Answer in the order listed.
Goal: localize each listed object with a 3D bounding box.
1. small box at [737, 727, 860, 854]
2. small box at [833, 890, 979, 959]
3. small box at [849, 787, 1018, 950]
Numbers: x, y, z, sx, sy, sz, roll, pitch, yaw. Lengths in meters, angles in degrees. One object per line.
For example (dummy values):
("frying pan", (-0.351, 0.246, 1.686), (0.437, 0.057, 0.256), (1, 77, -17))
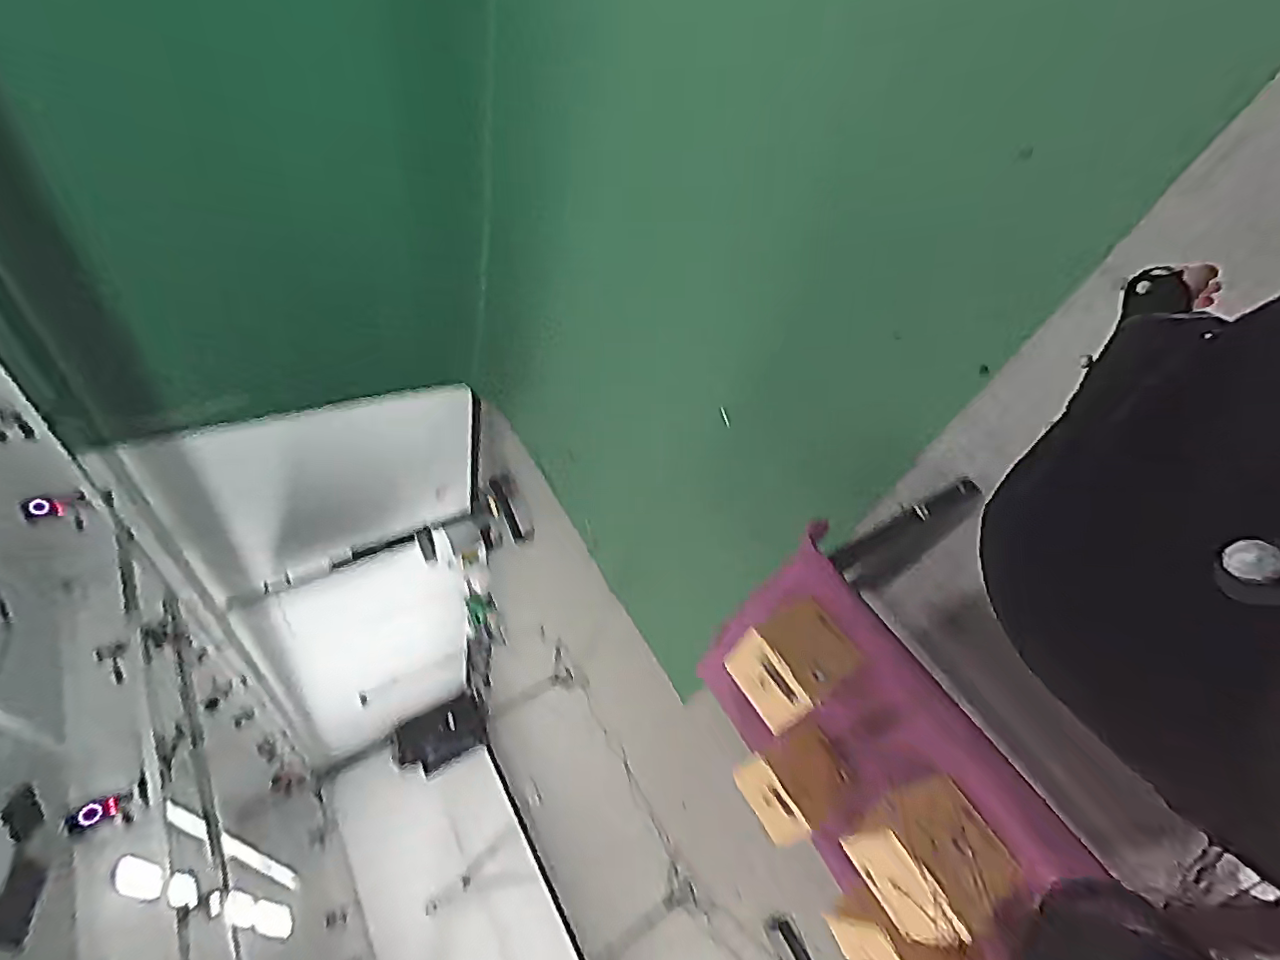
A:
("small box", (0.353, 0.681, 1.197), (0.168, 0.176, 0.179), (53, 145, 29))
("small box", (0.525, 0.917, 1.053), (0.168, 0.176, 0.179), (60, 147, 19))
("small box", (0.512, 0.668, 0.941), (0.168, 0.176, 0.179), (54, 145, 27))
